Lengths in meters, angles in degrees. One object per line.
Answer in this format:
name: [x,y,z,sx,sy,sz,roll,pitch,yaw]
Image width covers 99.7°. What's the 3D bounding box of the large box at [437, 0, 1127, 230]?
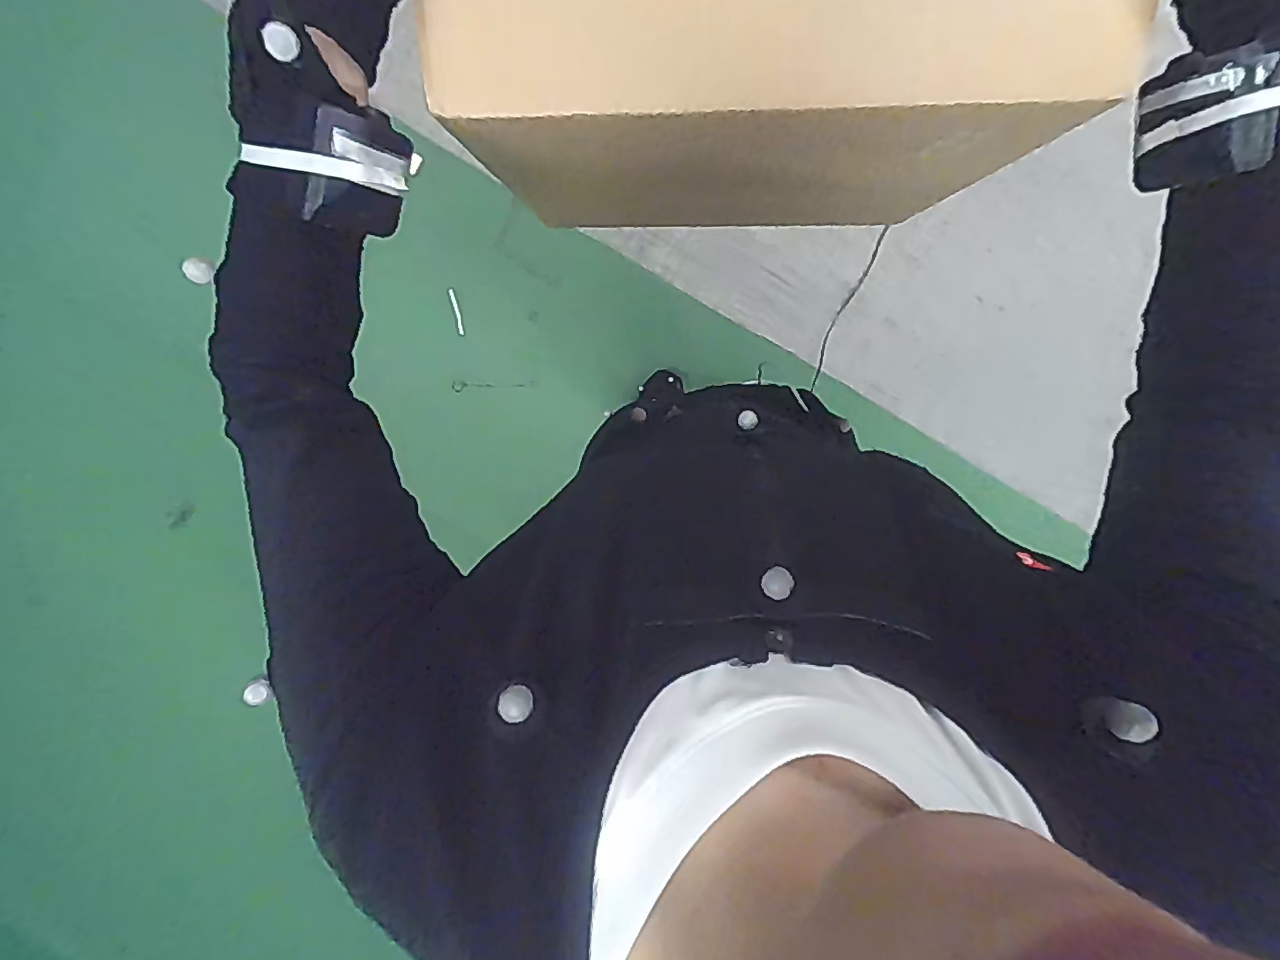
large box: [0.081,-0.405,0.436,0.408,0.320,0.320,0,104,3]
